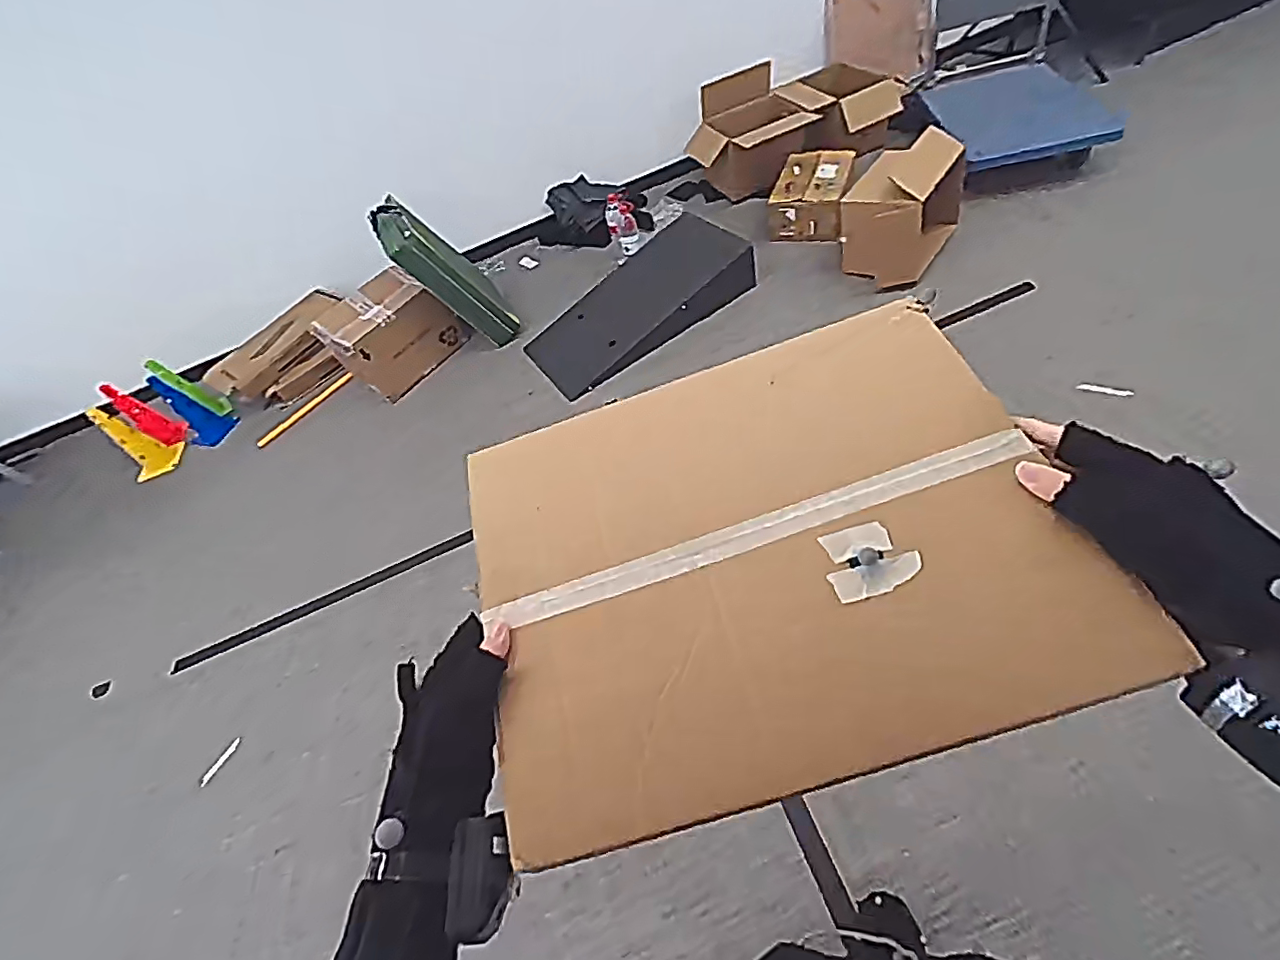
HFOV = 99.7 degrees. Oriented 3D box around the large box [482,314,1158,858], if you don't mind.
[{"bbox_3d":[0.112,0.115,0.529,0.408,0.320,0.320,-20,59,3],"label":"large box"}]
